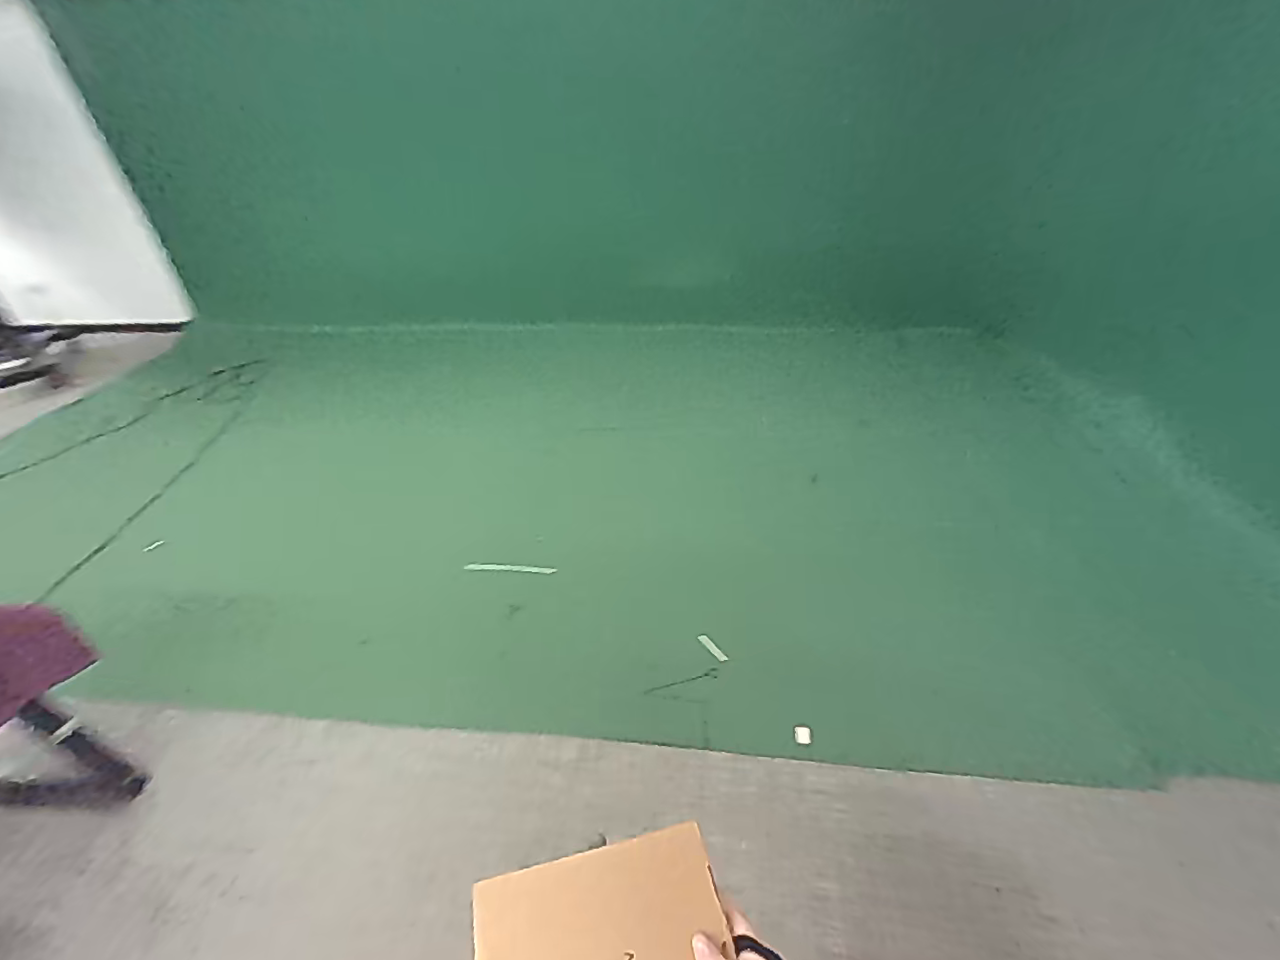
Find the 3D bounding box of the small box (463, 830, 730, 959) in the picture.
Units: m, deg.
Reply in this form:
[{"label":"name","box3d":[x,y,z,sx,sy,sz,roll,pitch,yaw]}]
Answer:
[{"label":"small box","box3d":[-0.027,0.399,0.402,0.179,0.176,0.168,-8,44,-15]}]
